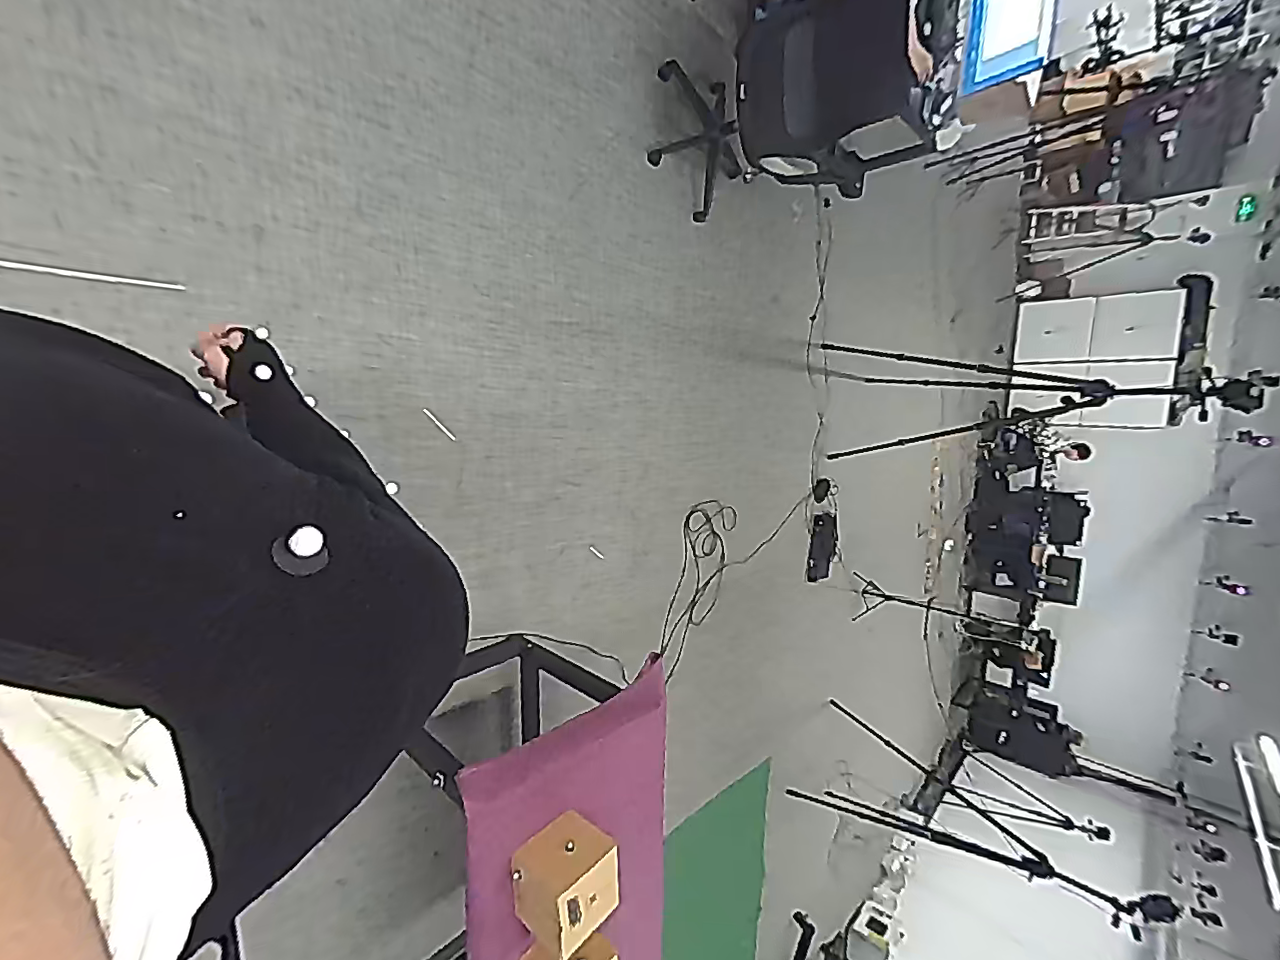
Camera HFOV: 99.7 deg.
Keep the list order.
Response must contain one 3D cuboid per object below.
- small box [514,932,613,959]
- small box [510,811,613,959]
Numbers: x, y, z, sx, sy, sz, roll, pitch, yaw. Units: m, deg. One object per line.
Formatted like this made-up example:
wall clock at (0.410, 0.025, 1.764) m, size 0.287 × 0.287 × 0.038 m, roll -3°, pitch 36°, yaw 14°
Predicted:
small box at (-0.184, 1.188, 1.273) m, size 0.179 × 0.176 × 0.168 m, roll -6°, pitch 100°, yaw -46°
small box at (-0.181, 0.905, 1.226) m, size 0.179 × 0.176 × 0.168 m, roll -12°, pitch 105°, yaw -47°
